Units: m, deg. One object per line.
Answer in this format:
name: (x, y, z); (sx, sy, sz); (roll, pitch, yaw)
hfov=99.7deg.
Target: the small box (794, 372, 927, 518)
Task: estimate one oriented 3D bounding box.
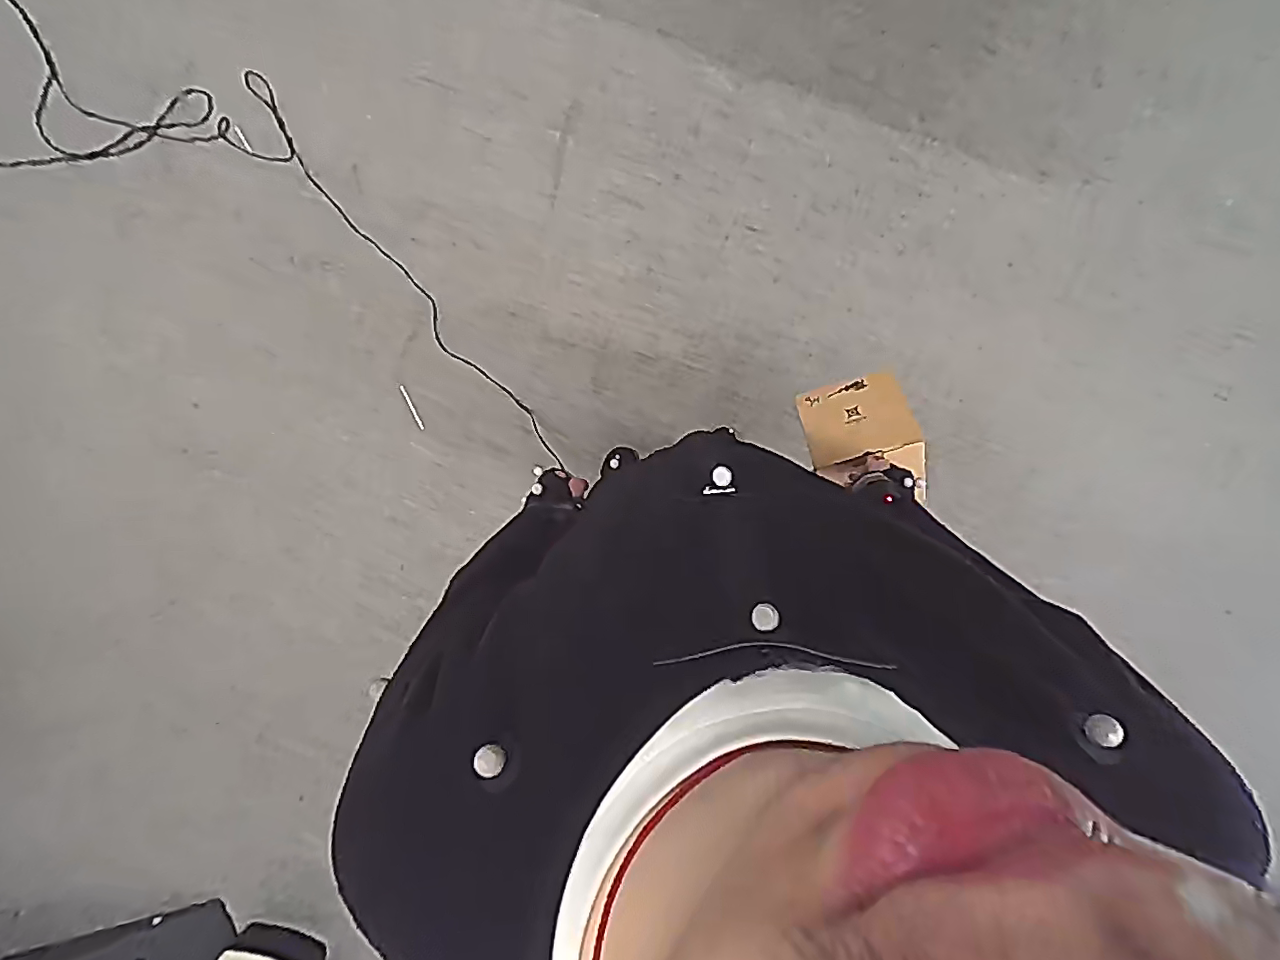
small box: (0.389, -0.051, 0.953); (0.168, 0.179, 0.176); (-19, 138, 17)
